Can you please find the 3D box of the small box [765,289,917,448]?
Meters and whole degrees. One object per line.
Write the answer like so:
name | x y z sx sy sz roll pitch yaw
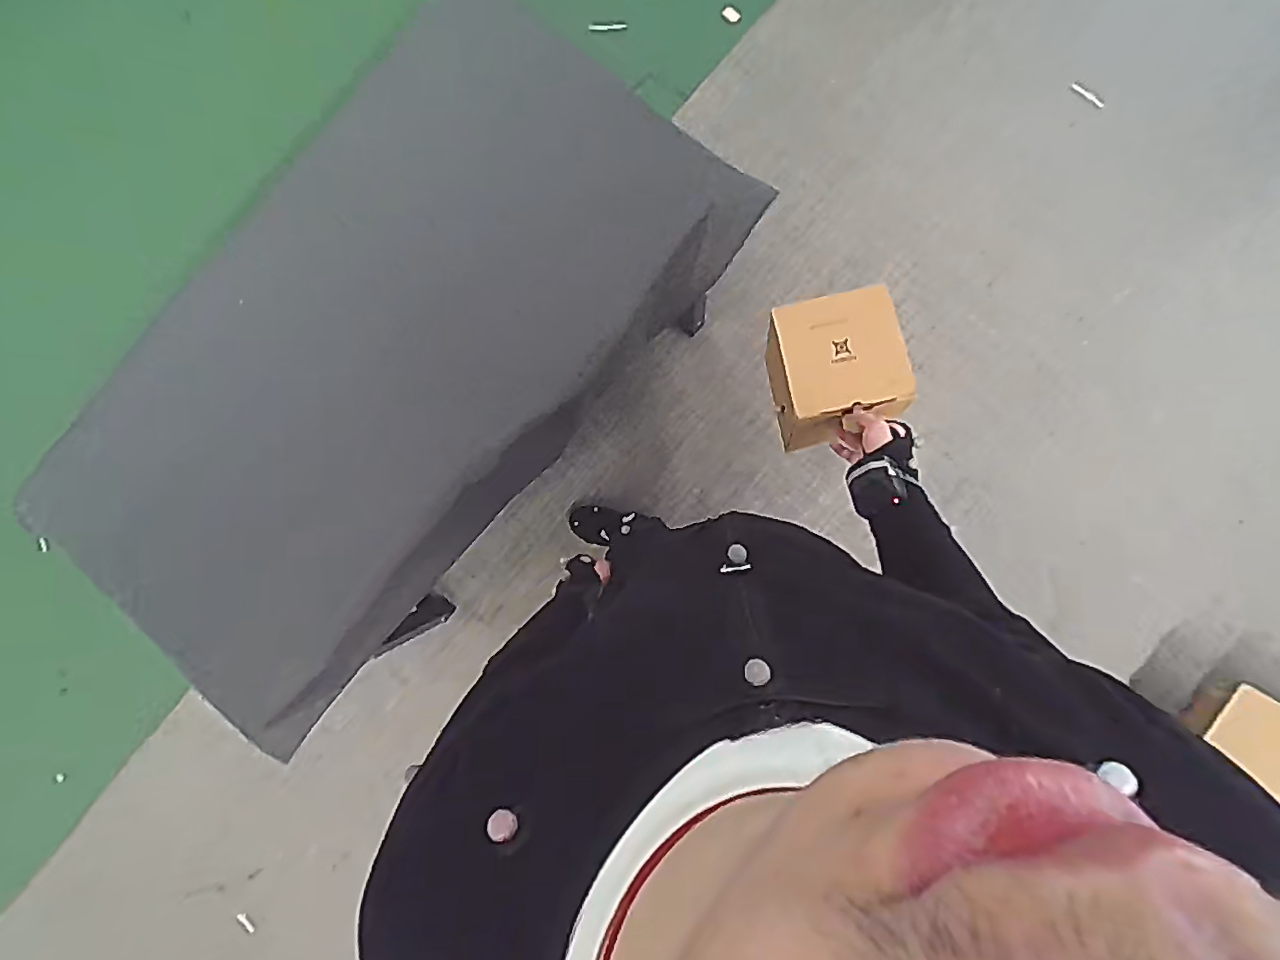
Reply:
small box | 0.294 -0.158 0.831 0.168 0.176 0.179 -10 73 5
